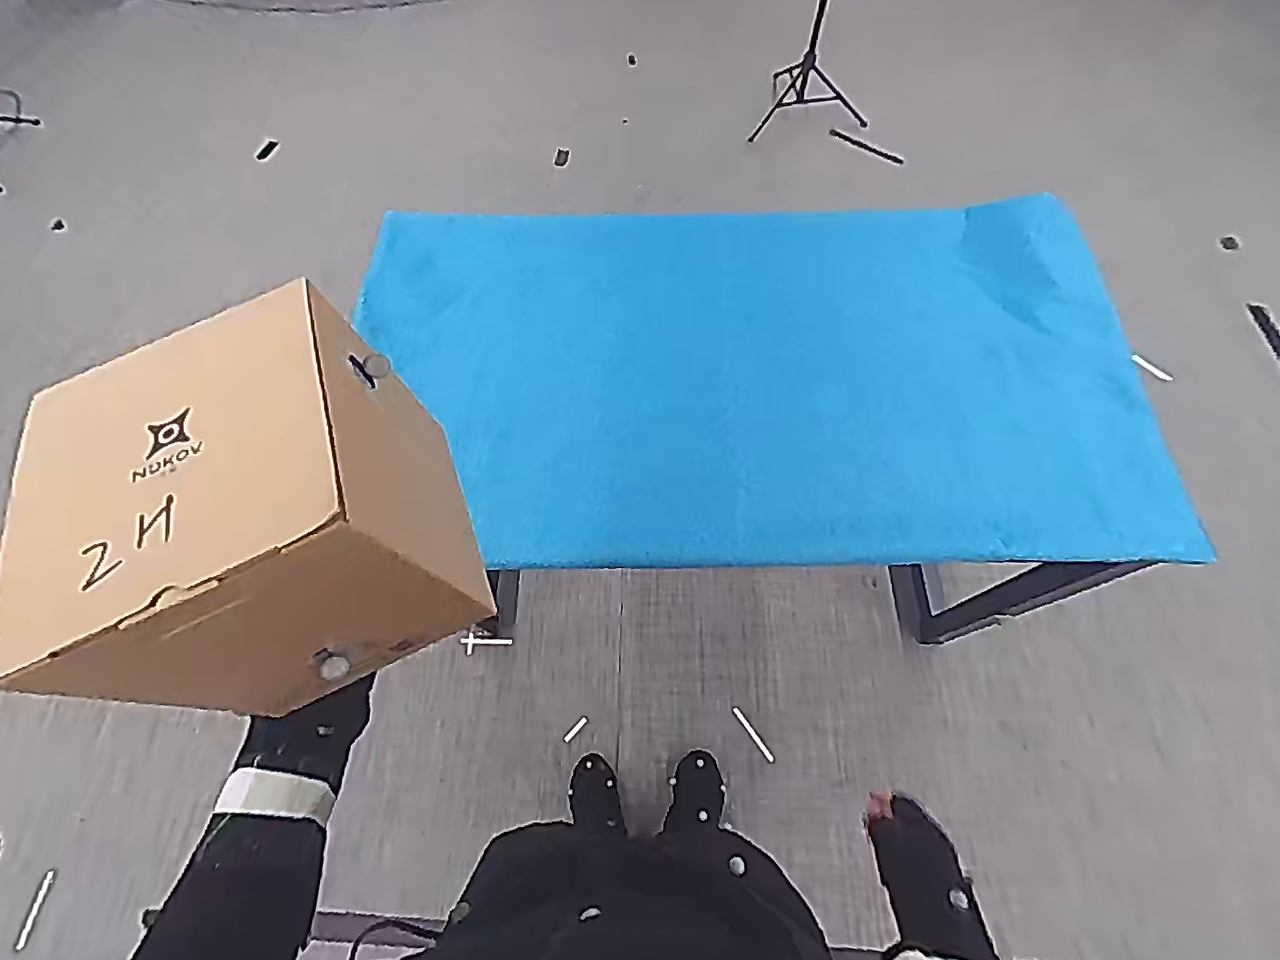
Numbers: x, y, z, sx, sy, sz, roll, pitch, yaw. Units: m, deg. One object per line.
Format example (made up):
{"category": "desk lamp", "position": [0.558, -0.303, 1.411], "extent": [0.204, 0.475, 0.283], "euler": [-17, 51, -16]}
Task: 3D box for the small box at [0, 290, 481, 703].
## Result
{"category": "small box", "position": [-0.223, 0.024, 0.341], "extent": [0.168, 0.176, 0.179], "euler": [-22, 64, 0]}
